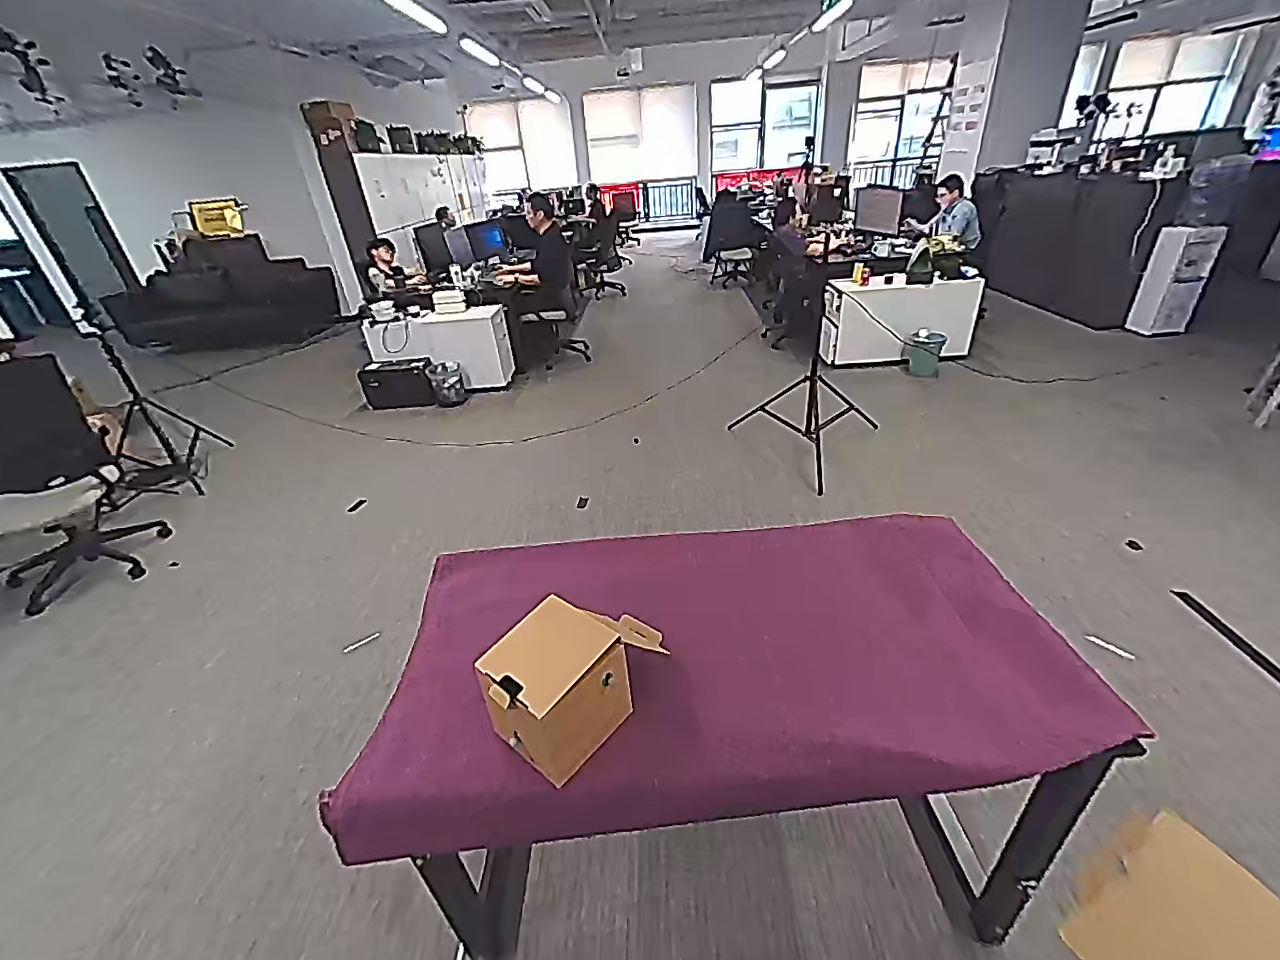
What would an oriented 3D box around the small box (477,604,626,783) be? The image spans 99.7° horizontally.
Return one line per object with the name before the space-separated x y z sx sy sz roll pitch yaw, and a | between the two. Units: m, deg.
small box | -0.136 0.344 0.891 0.168 0.176 0.179 19 37 37
